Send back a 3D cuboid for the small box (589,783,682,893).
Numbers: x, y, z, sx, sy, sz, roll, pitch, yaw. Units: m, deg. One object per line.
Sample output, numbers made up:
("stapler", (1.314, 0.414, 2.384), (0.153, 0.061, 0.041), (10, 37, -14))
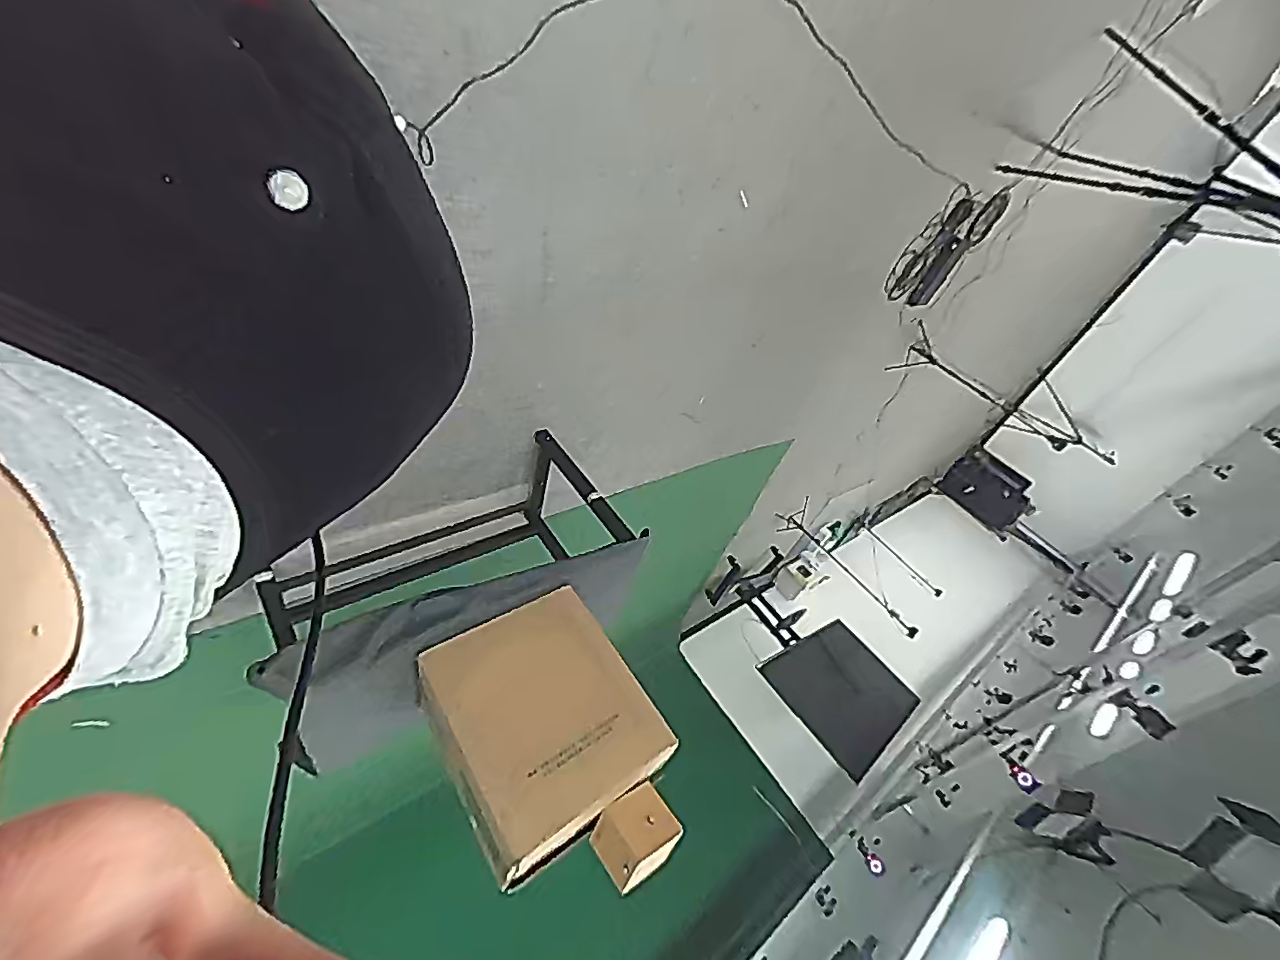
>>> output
("small box", (-0.016, 1.024, 1.562), (0.179, 0.176, 0.168), (-7, 126, -43))
